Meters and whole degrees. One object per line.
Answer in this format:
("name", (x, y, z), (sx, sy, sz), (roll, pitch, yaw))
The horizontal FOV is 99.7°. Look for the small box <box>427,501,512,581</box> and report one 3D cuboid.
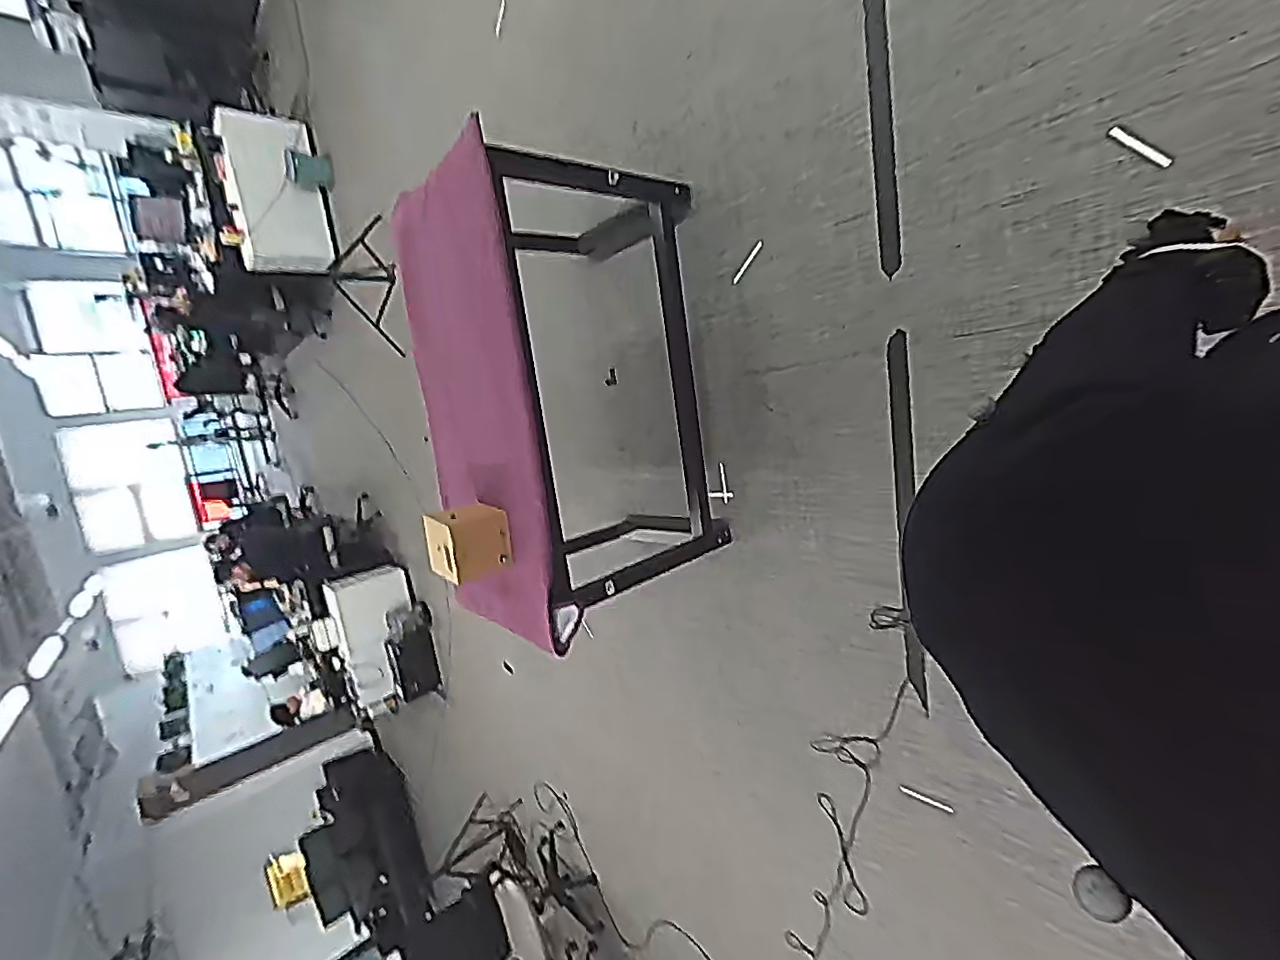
("small box", (-0.469, 0.162, 1.511), (0.179, 0.176, 0.168), (11, 109, 47))
